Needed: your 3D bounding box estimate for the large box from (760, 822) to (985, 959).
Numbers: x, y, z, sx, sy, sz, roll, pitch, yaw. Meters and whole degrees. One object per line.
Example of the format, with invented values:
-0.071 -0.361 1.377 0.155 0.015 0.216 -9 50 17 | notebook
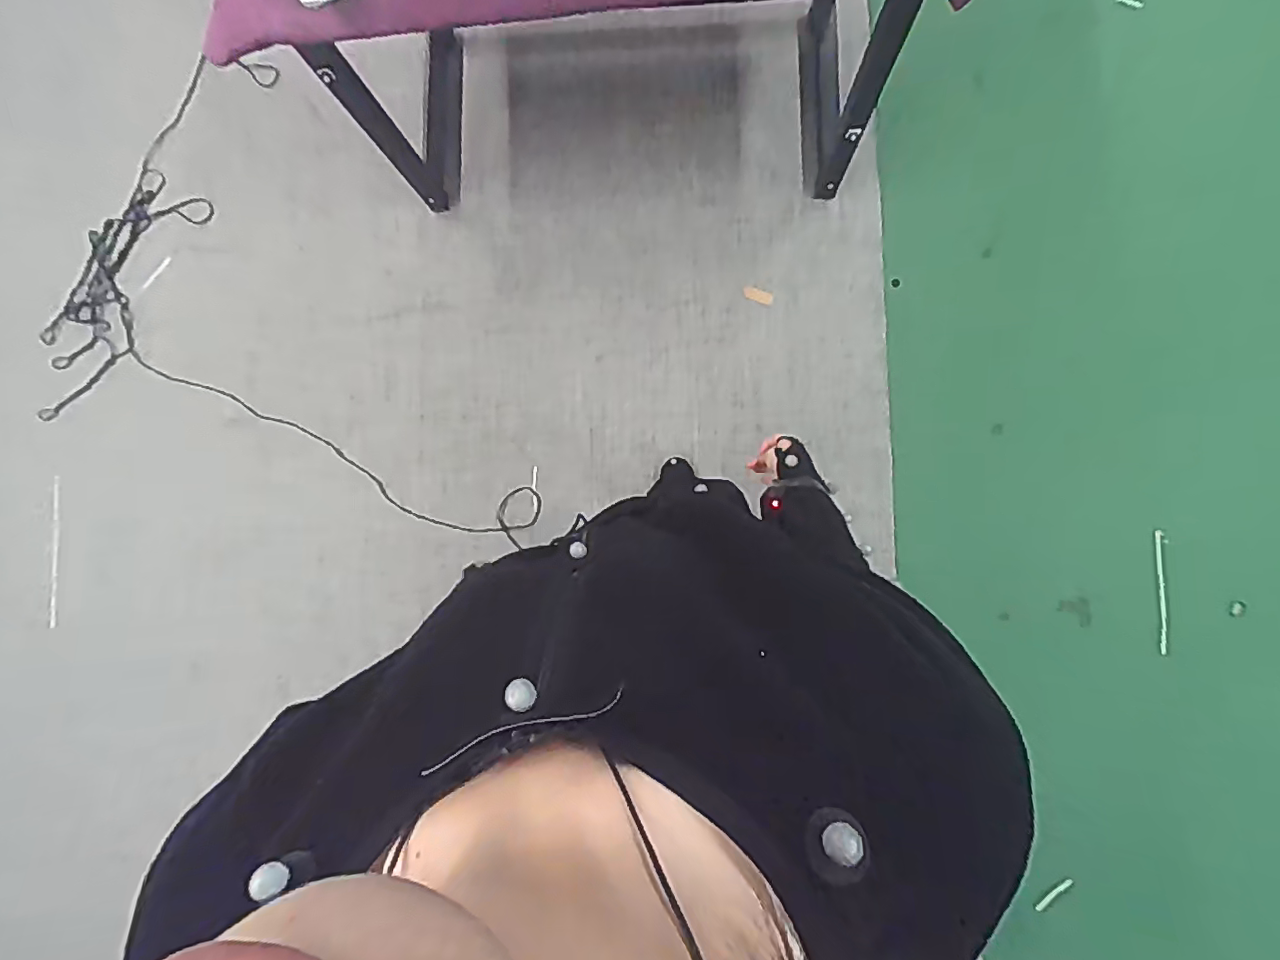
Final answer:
0.535 1.077 1.264 0.408 0.320 0.320 -15 86 3 | large box
